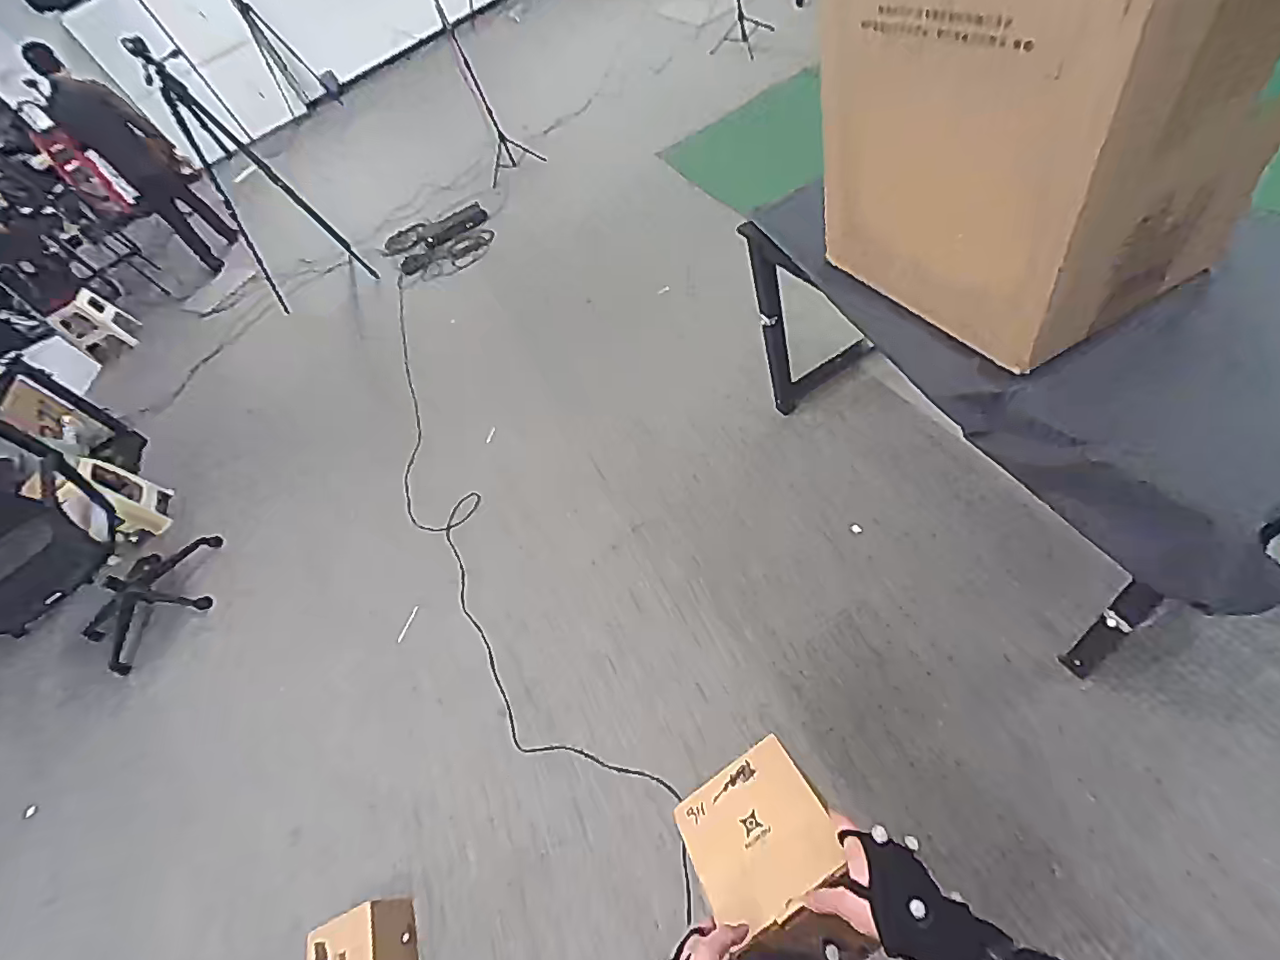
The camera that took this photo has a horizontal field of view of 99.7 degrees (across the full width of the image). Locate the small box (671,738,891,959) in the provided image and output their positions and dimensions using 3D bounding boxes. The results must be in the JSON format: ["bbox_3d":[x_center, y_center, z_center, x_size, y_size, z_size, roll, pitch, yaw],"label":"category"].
[{"bbox_3d":[0.171,0.472,0.666,0.168,0.176,0.179,-37,25,-2],"label":"small box"}]

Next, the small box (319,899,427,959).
[{"bbox_3d":[-0.660,1.175,1.341,0.179,0.176,0.168,-28,51,-1],"label":"small box"}]
